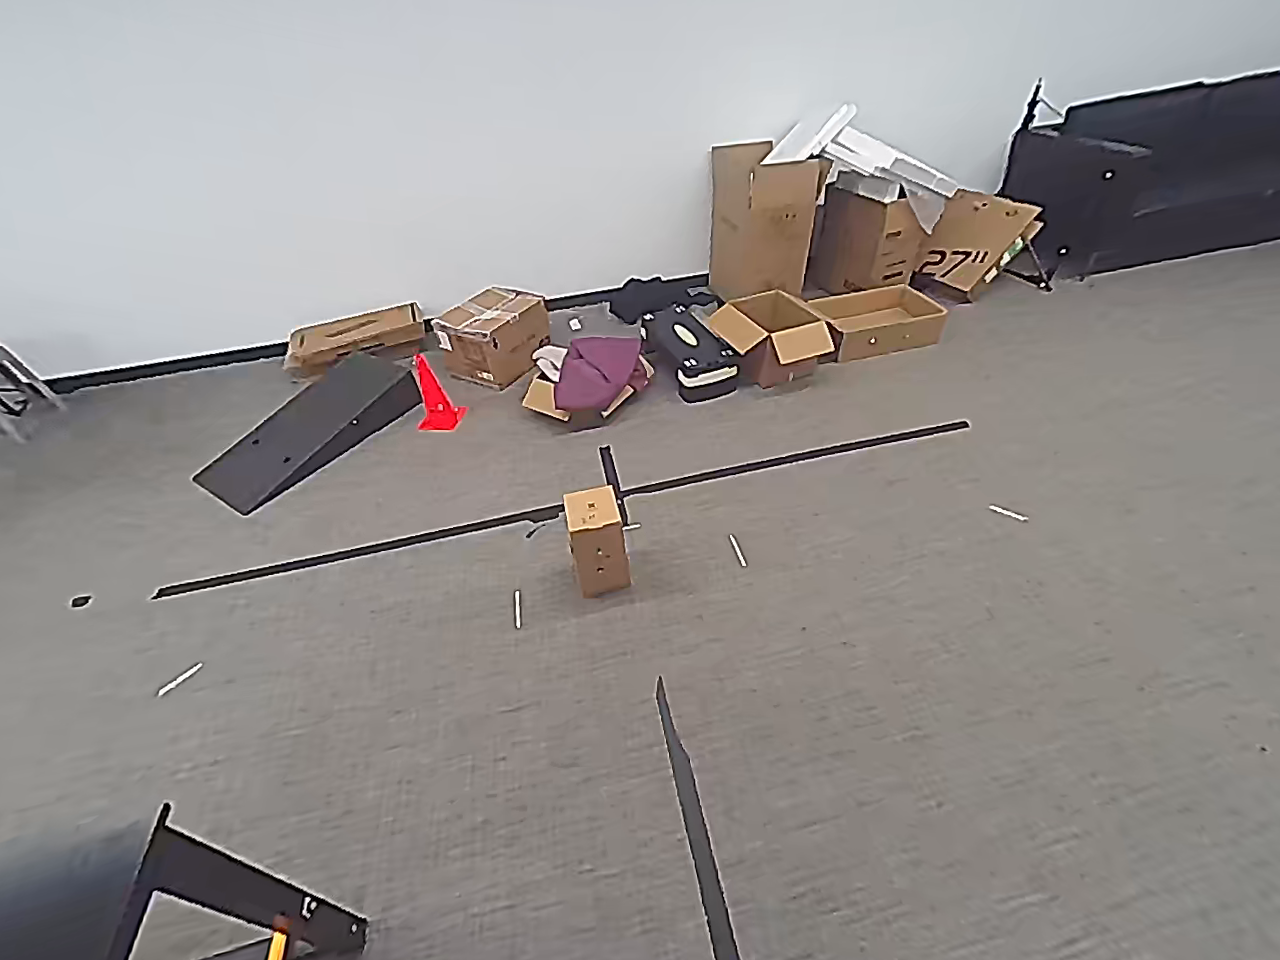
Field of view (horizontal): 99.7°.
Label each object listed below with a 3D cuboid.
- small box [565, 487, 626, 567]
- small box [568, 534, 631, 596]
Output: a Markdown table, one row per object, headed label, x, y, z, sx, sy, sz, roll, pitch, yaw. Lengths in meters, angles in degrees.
| label | x | y | z | sx | sy | sz | roll | pitch | yaw |
| --- | --- | --- | --- | --- | --- | --- | --- | --- | --- |
| small box | -0.144 | 0.153 | 1.758 | 0.168 | 0.176 | 0.179 | -11 | 42 | -6 |
| small box | -0.137 | 0.277 | 1.866 | 0.179 | 0.176 | 0.168 | -13 | 42 | -9 |
